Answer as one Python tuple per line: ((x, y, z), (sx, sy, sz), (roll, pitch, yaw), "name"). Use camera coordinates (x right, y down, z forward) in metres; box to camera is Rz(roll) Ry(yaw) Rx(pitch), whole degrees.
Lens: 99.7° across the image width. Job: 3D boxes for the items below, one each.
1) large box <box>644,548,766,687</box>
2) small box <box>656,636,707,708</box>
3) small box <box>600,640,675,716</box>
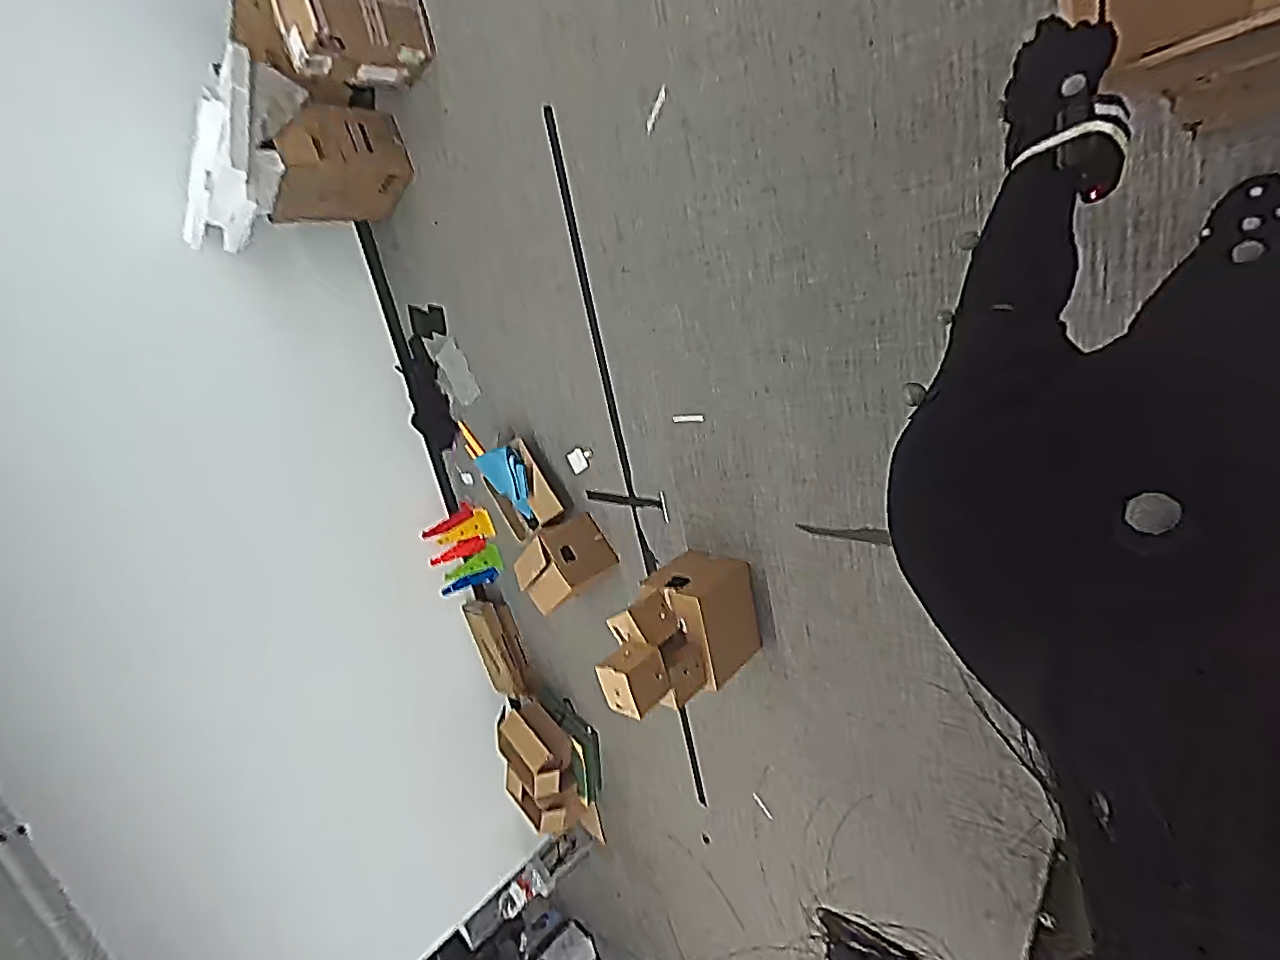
((0.265, 0.529, 2.152), (0.320, 0.320, 0.408), (2, 111, 46), "large box")
((0.133, 0.702, 2.006), (0.179, 0.176, 0.168), (3, 110, 48), "small box")
((-0.005, 0.682, 1.888), (0.168, 0.176, 0.179), (-4, 107, 48), "small box")
